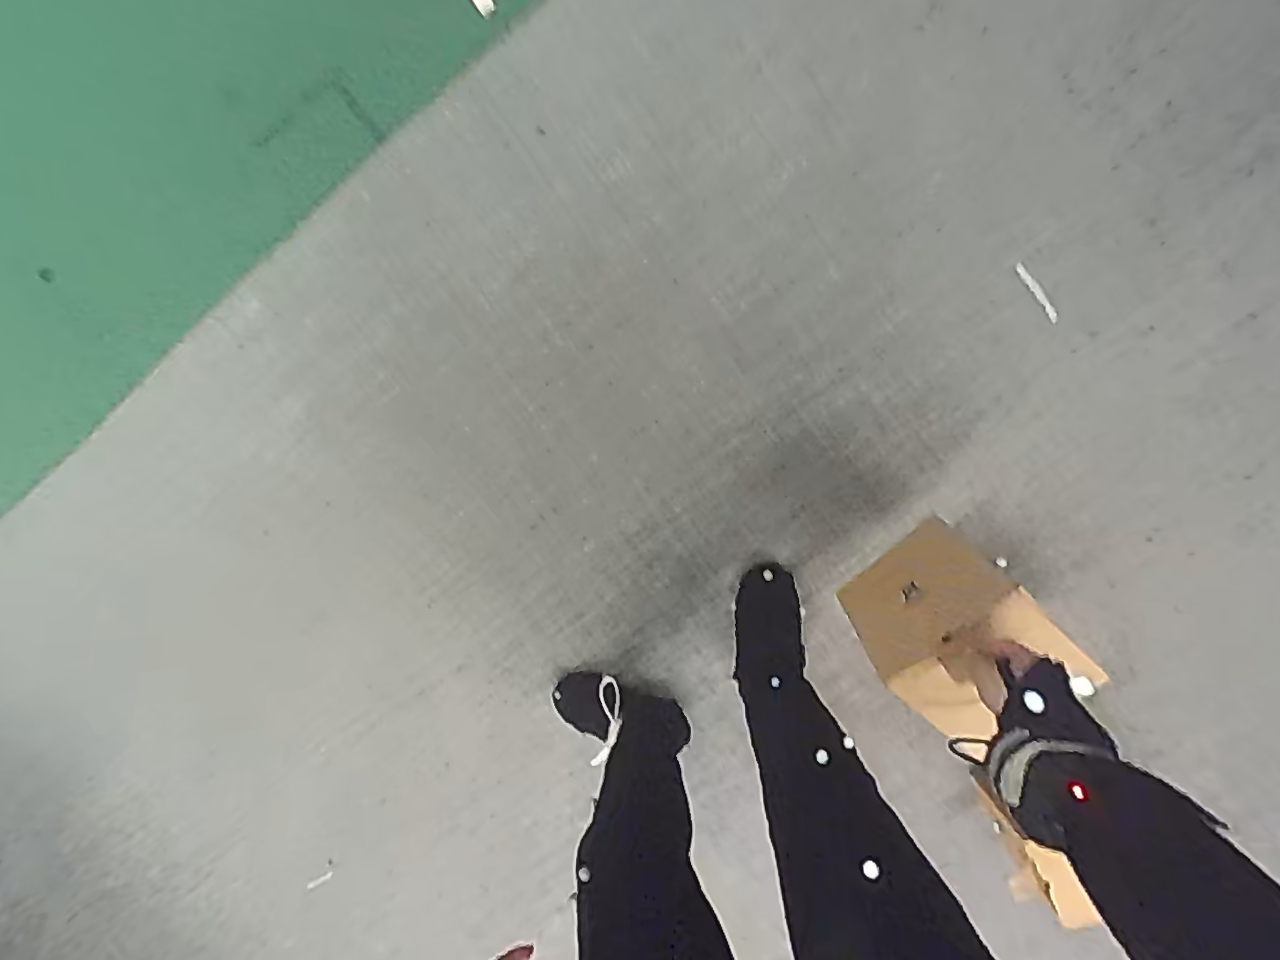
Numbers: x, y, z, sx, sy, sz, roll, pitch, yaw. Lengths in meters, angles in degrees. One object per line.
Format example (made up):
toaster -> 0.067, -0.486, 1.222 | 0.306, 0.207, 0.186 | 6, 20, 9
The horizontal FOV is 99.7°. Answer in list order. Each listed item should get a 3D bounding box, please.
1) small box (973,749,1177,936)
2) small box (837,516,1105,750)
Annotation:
small box -> 0.702, 0.584, 0.893 | 0.179, 0.176, 0.168 | -26, 94, 8
small box -> 0.372, 0.180, 0.630 | 0.176, 0.179, 0.168 | 39, 109, -15
